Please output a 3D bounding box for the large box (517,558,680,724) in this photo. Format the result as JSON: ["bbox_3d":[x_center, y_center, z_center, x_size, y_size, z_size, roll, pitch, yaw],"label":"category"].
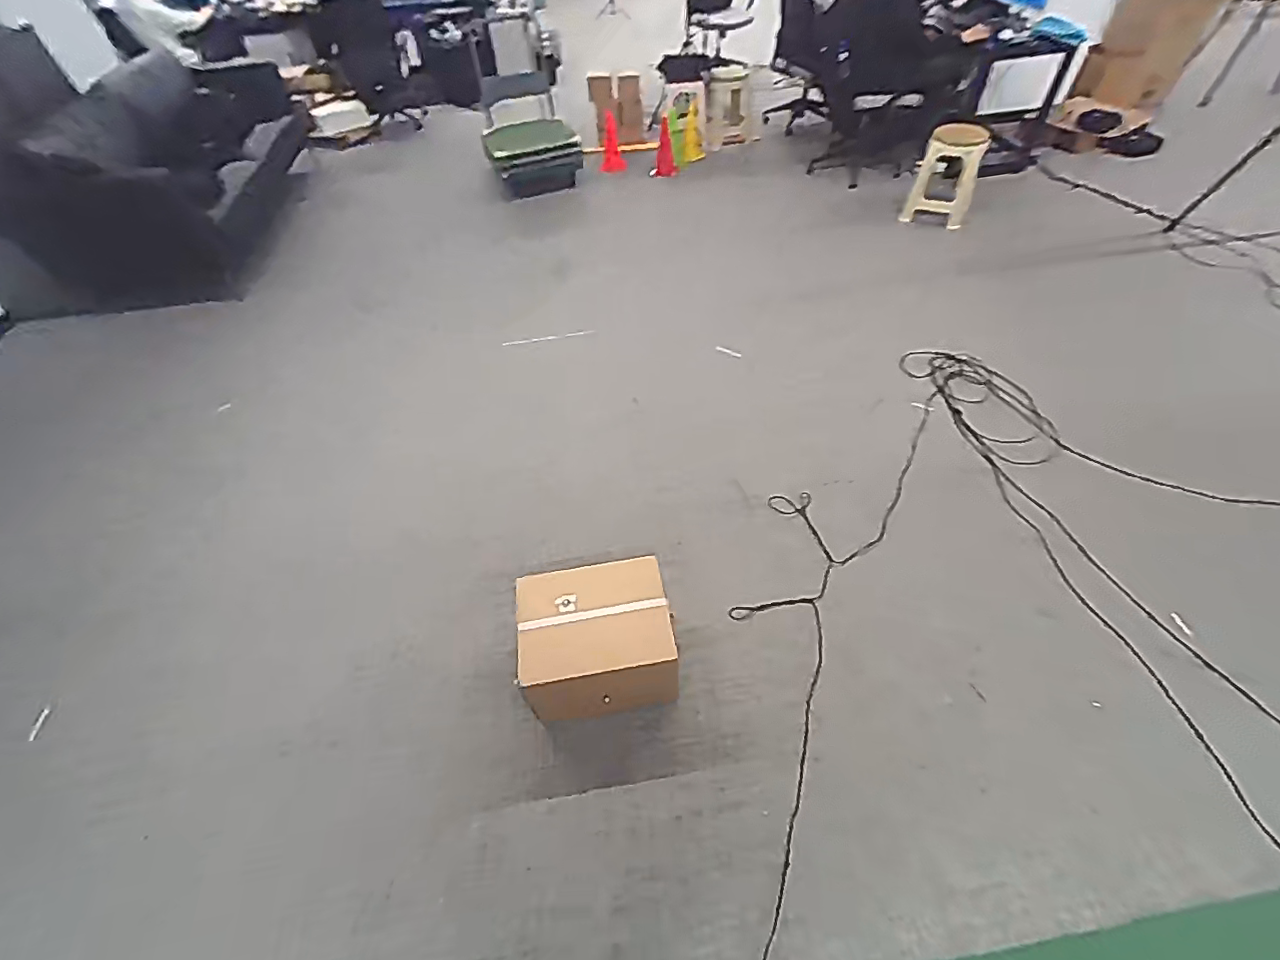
[{"bbox_3d":[-0.114,0.469,1.561,0.408,0.320,0.320,-10,49,-4],"label":"large box"}]
